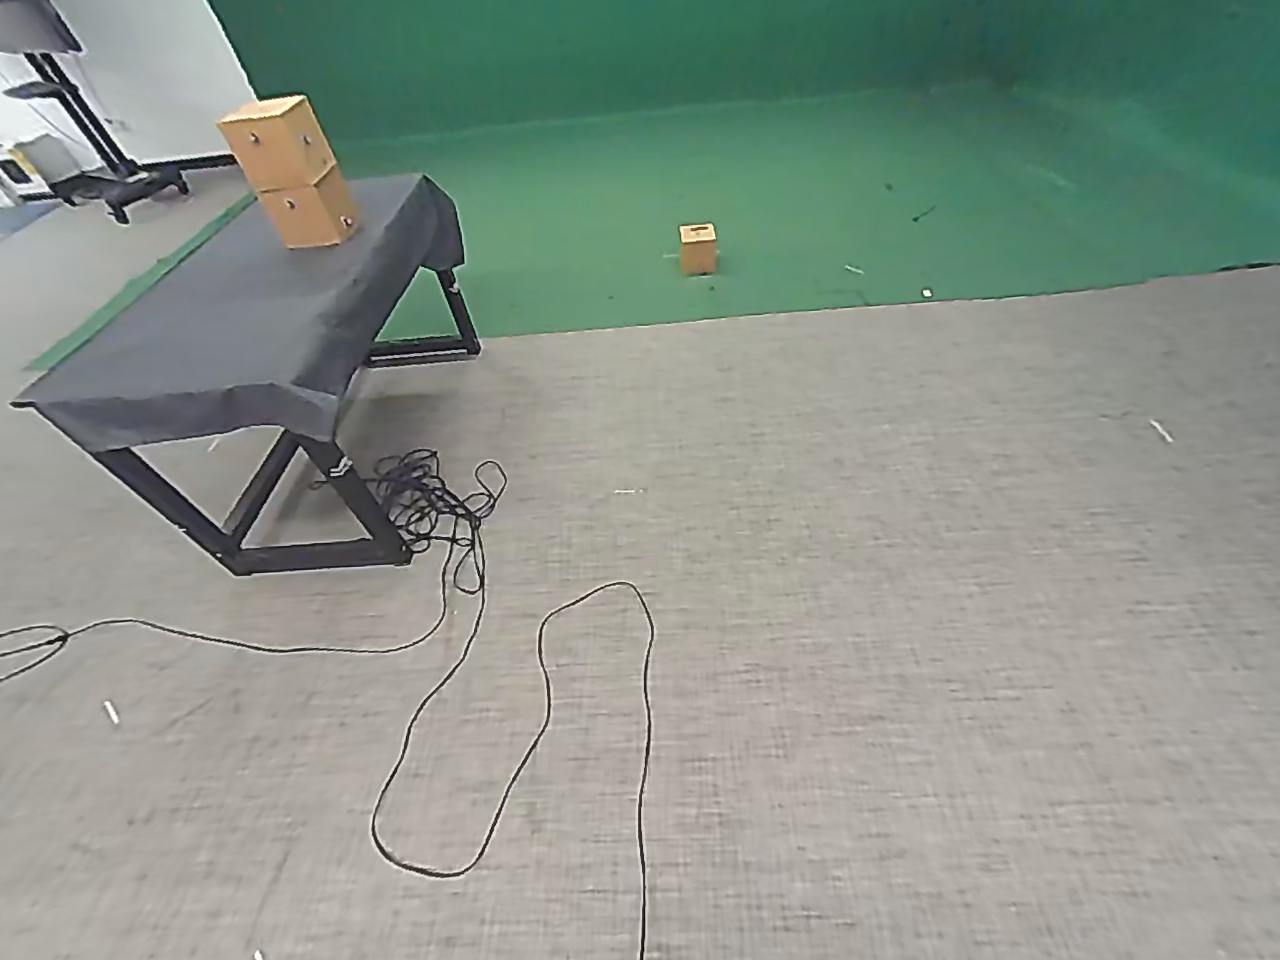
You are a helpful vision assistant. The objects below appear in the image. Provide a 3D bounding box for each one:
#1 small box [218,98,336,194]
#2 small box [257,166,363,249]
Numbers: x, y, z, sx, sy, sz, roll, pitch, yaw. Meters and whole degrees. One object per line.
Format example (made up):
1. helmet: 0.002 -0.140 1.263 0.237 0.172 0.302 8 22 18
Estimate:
1. small box: -0.967 -0.901 1.463 0.179 0.176 0.168 -5 49 5
2. small box: -0.959 -0.797 1.587 0.179 0.176 0.168 -3 49 4
